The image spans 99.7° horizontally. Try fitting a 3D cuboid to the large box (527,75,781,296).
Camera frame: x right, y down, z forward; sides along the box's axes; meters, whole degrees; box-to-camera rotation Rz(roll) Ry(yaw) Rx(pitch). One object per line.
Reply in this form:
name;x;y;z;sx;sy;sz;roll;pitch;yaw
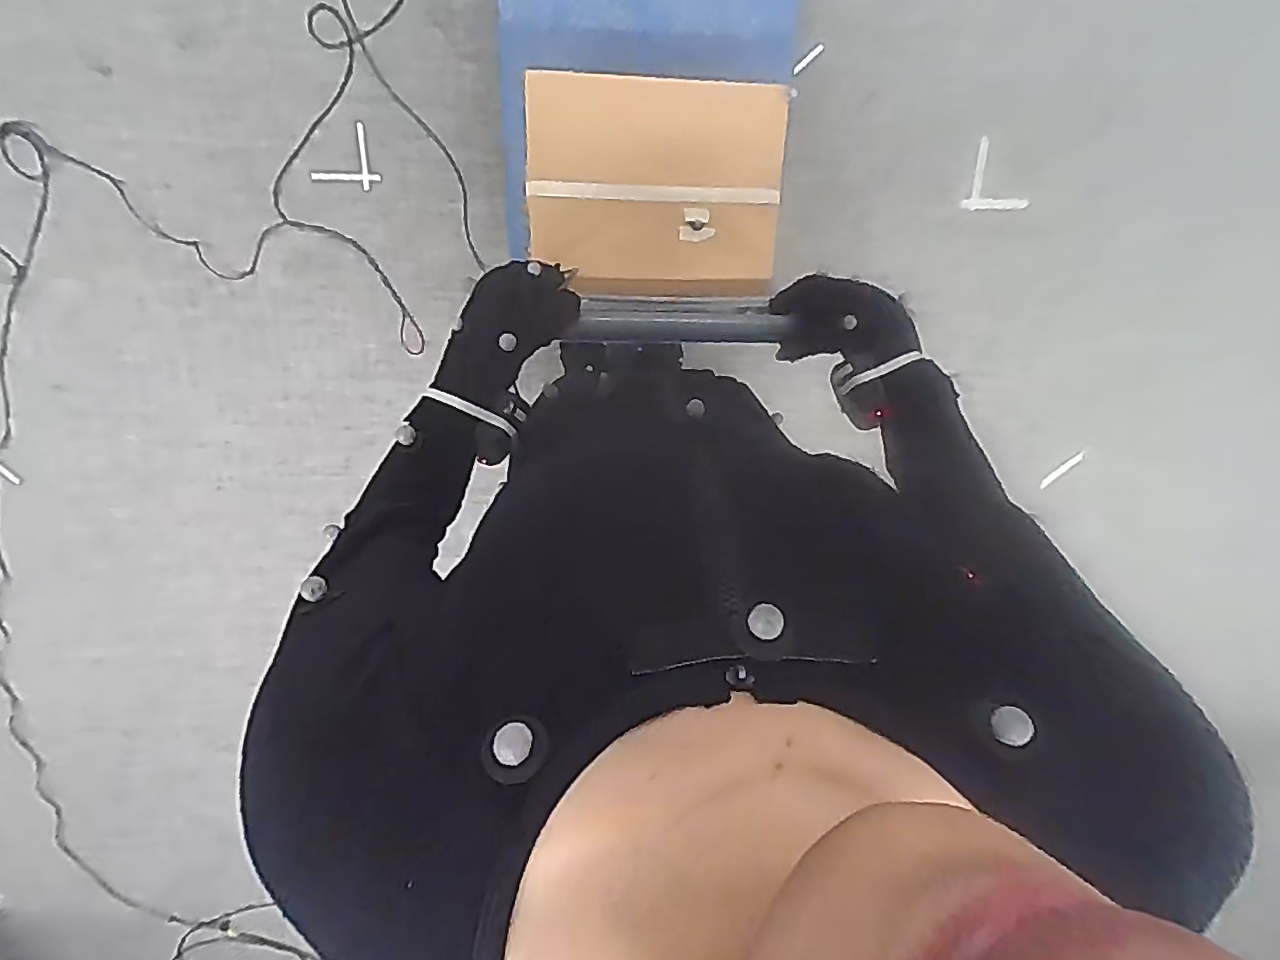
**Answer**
large box;0.010;-0.514;1.019;0.408;0.320;0.320;-1;108;-6
